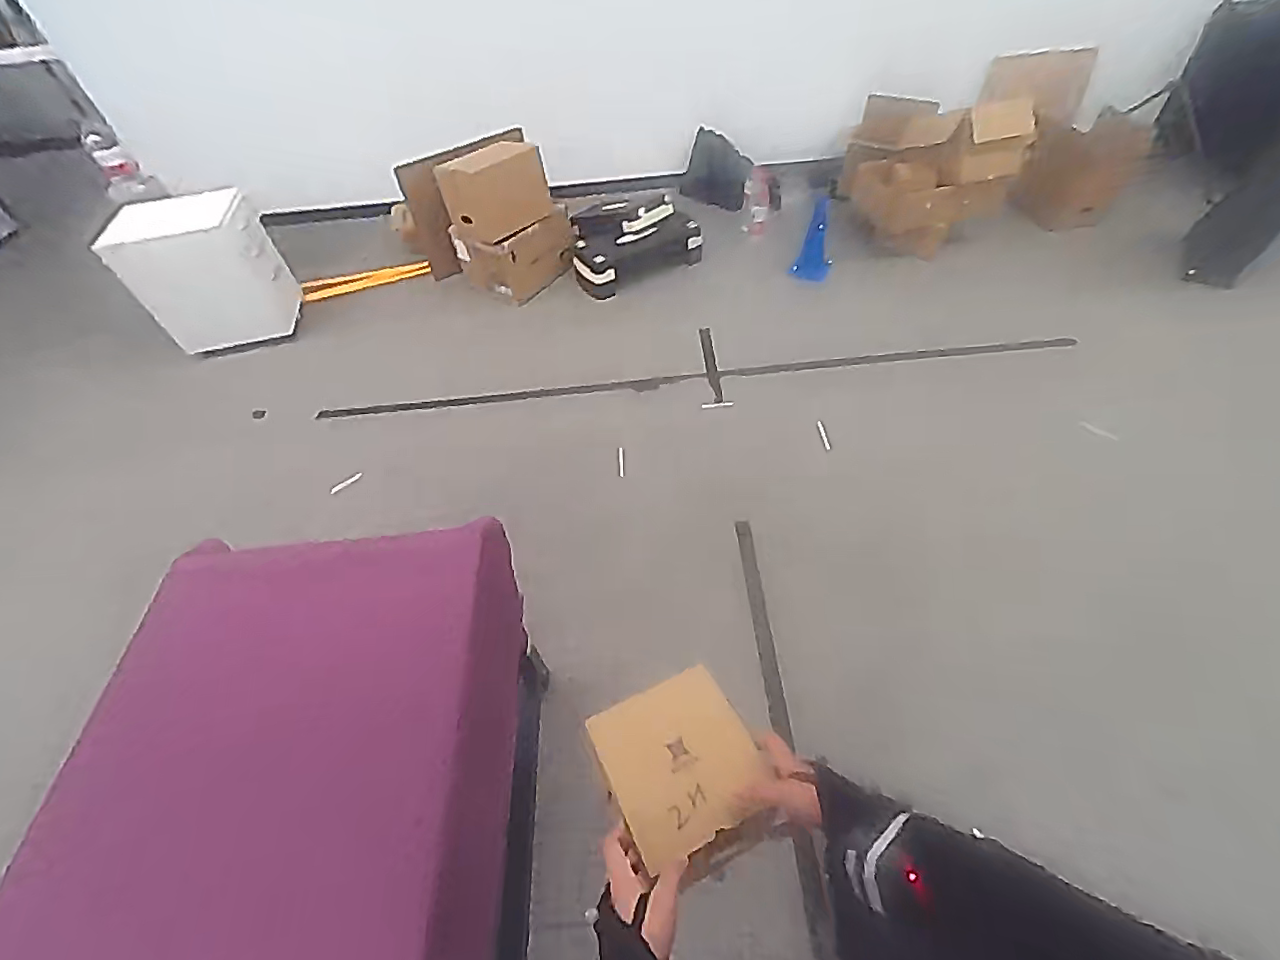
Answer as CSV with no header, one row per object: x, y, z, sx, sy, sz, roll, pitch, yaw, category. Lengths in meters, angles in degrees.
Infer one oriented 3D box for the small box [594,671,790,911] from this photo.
0.051,0.377,0.661,0.168,0.176,0.179,-18,46,-18,small box
